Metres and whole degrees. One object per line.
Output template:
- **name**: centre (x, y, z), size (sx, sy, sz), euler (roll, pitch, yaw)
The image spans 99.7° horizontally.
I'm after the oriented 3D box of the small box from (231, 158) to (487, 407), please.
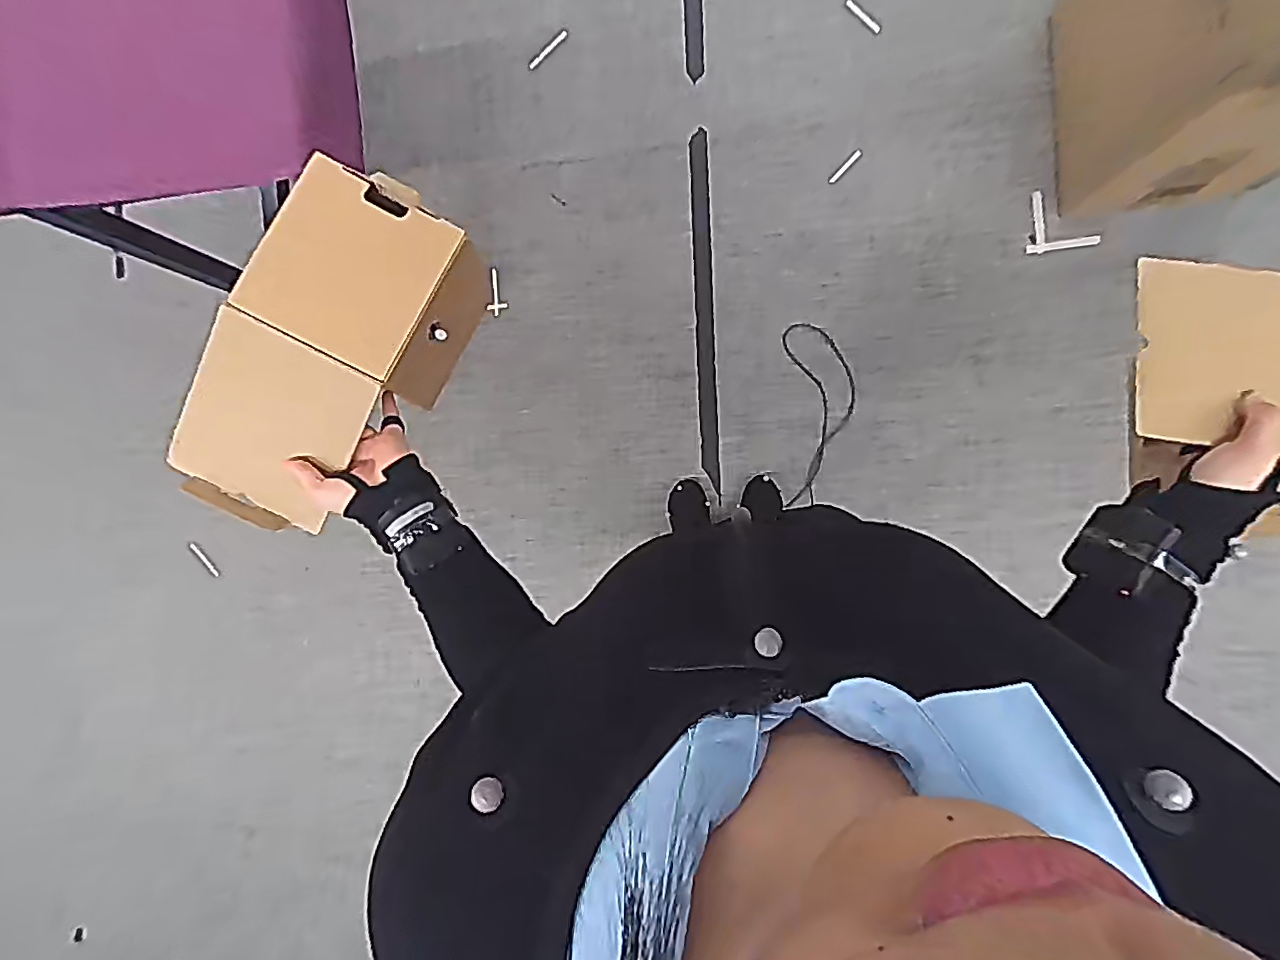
- **small box**: centre (-0.291, -0.200, 0.608), size (0.168, 0.176, 0.179), euler (28, 85, -4)
